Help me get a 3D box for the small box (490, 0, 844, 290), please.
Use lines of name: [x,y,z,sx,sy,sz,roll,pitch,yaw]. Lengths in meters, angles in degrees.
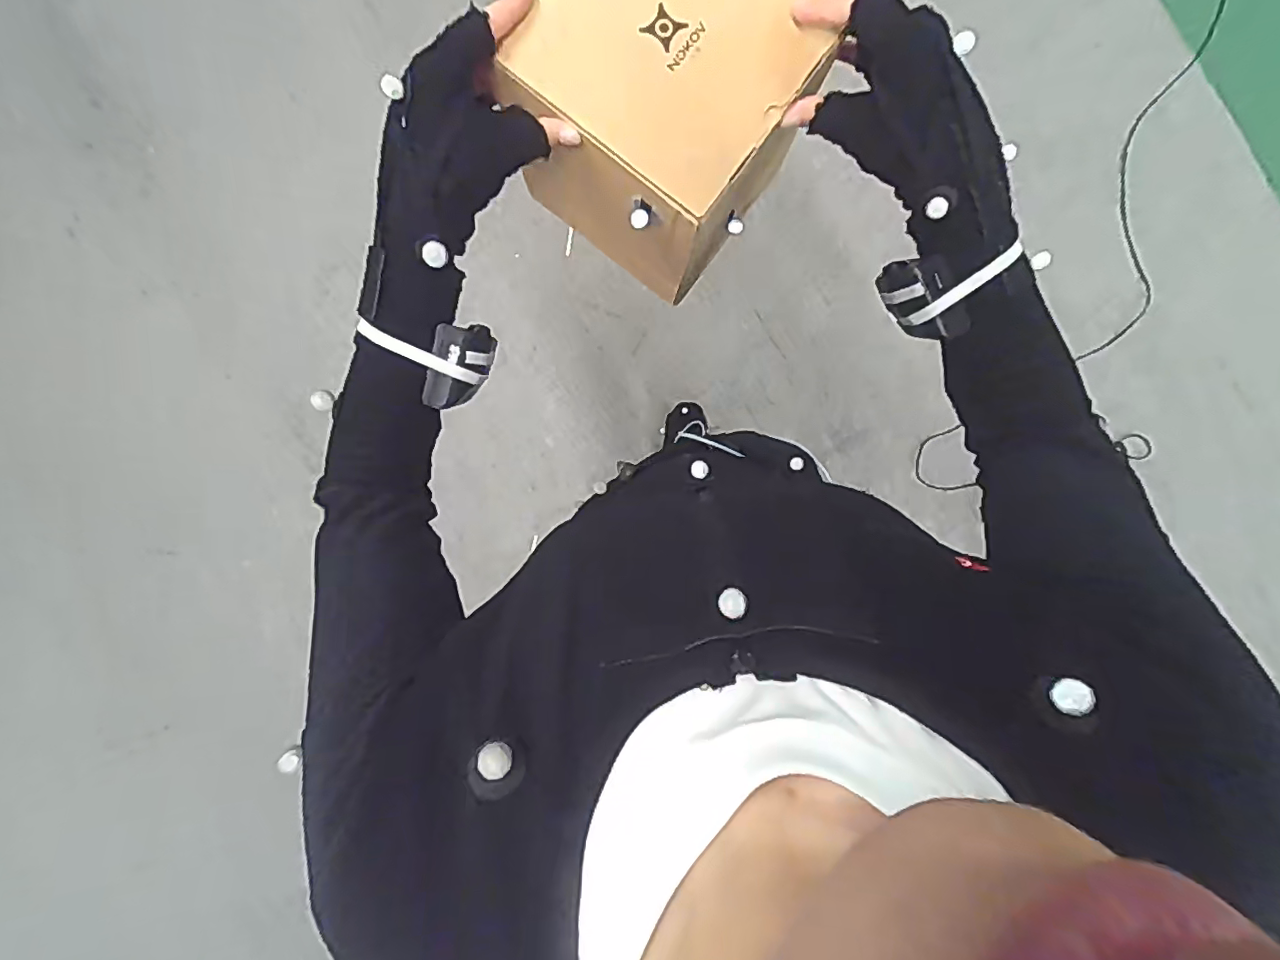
small box: [0.014,-0.284,0.429,0.179,0.176,0.168,38,88,-3]
